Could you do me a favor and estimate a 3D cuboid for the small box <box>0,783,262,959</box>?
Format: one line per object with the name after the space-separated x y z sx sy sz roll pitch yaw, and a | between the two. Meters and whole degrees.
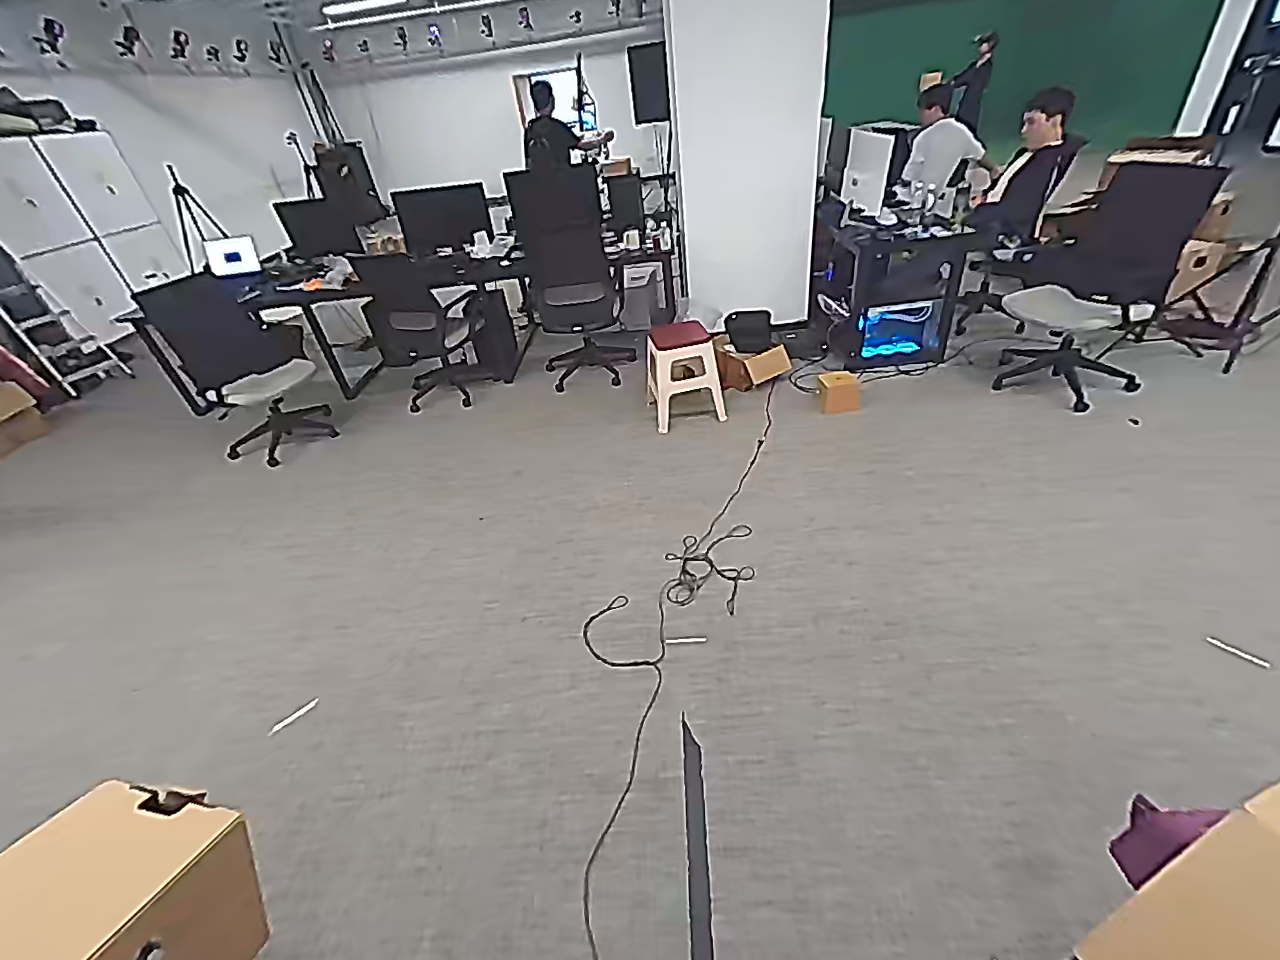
-0.474 0.413 0.472 0.168 0.176 0.179 6 16 11 | small box
